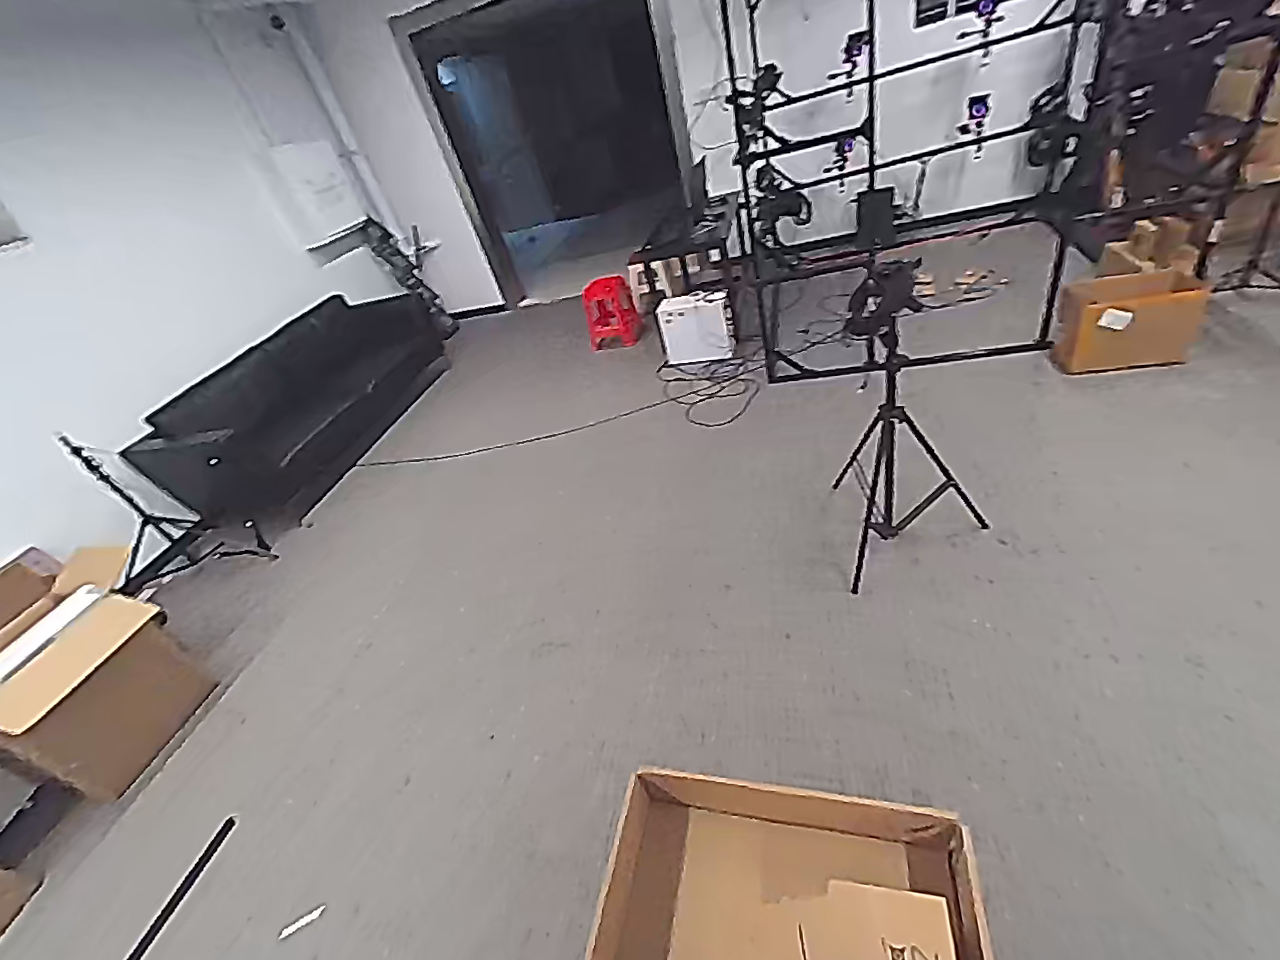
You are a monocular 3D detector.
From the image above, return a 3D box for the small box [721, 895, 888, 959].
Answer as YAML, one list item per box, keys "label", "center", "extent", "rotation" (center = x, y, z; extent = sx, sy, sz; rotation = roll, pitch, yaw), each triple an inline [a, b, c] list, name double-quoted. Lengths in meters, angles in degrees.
- label: "small box"
  center: [0.189, 0.586, 0.592]
  extent: [0.168, 0.176, 0.179]
  rotation: [-9, 44, 0]
